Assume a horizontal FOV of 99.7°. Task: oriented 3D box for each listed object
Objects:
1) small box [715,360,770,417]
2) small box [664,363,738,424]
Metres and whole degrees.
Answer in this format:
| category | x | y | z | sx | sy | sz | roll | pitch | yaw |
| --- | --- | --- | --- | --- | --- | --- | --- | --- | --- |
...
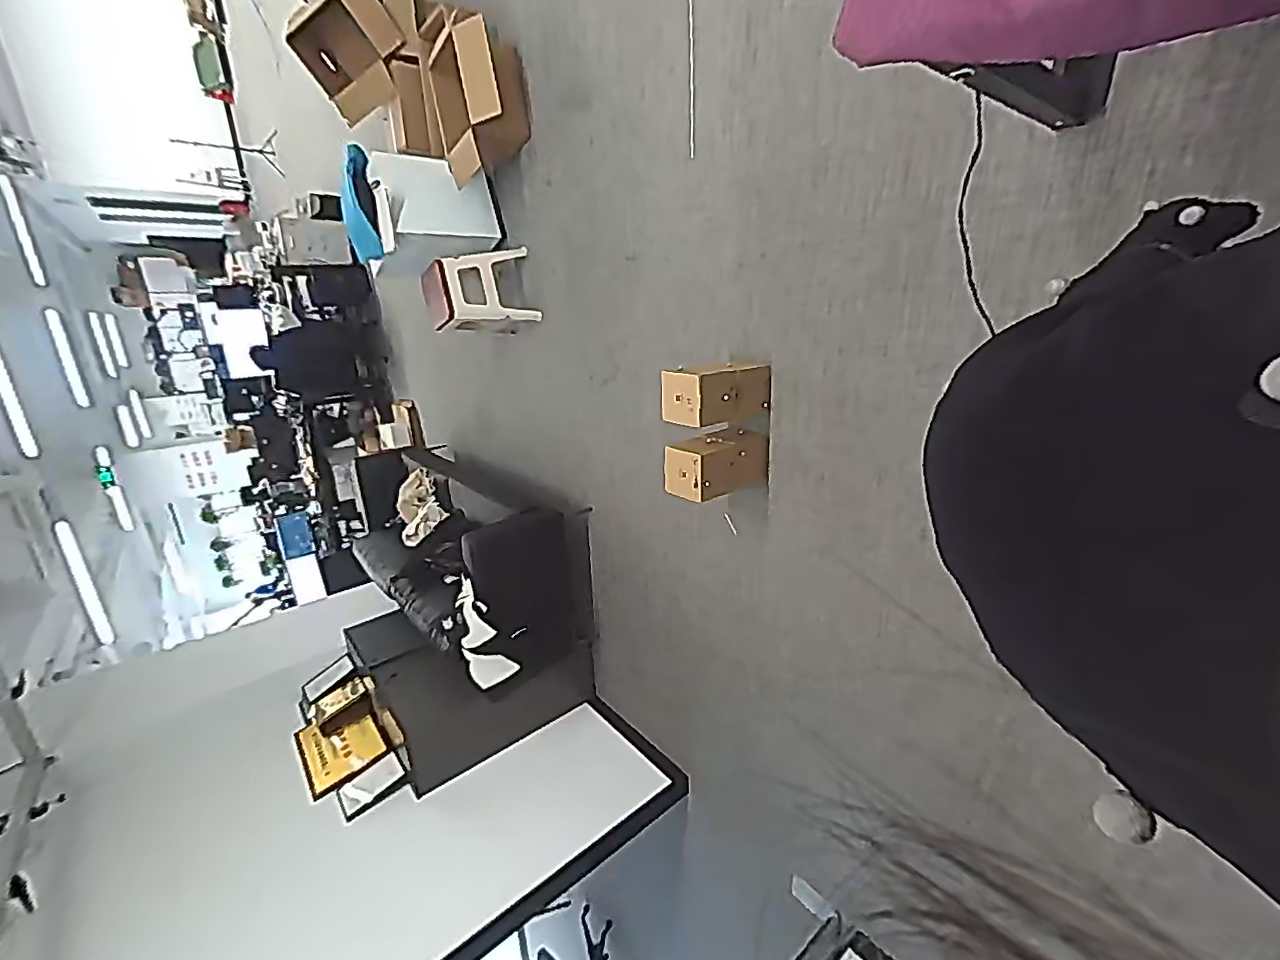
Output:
| category | x | y | z | sx | sy | sz | roll | pitch | yaw |
| --- | --- | --- | --- | --- | --- | --- | --- | --- | --- |
| small box | 0.327 | -0.319 | 1.849 | 0.179 | 0.176 | 0.168 | 19 | 117 | 49 |
| small box | 0.196 | -0.287 | 1.756 | 0.179 | 0.176 | 0.168 | 19 | 118 | 48 |
